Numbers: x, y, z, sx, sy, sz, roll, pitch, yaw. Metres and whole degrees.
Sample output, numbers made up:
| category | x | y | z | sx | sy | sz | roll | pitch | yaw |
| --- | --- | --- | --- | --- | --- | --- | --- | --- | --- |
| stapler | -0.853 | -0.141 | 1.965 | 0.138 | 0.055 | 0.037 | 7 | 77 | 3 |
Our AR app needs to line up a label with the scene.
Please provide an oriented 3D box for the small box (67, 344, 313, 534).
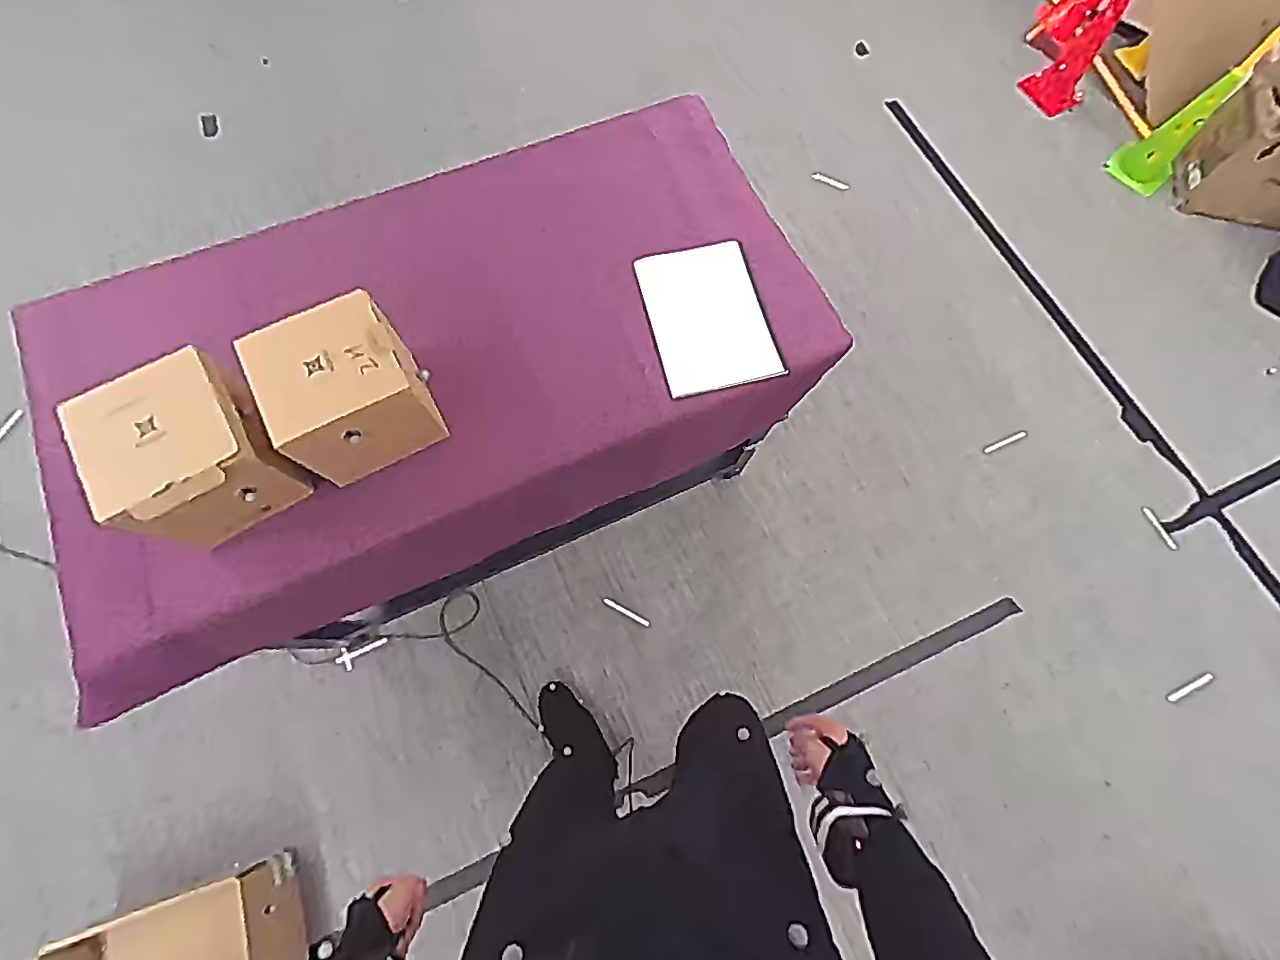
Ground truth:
| category | x | y | z | sx | sy | sz | roll | pitch | yaw |
| --- | --- | --- | --- | --- | --- | --- | --- | --- | --- |
| small box | -0.583 | -0.041 | 0.726 | 0.168 | 0.176 | 0.179 | -30 | 76 | -11 |
